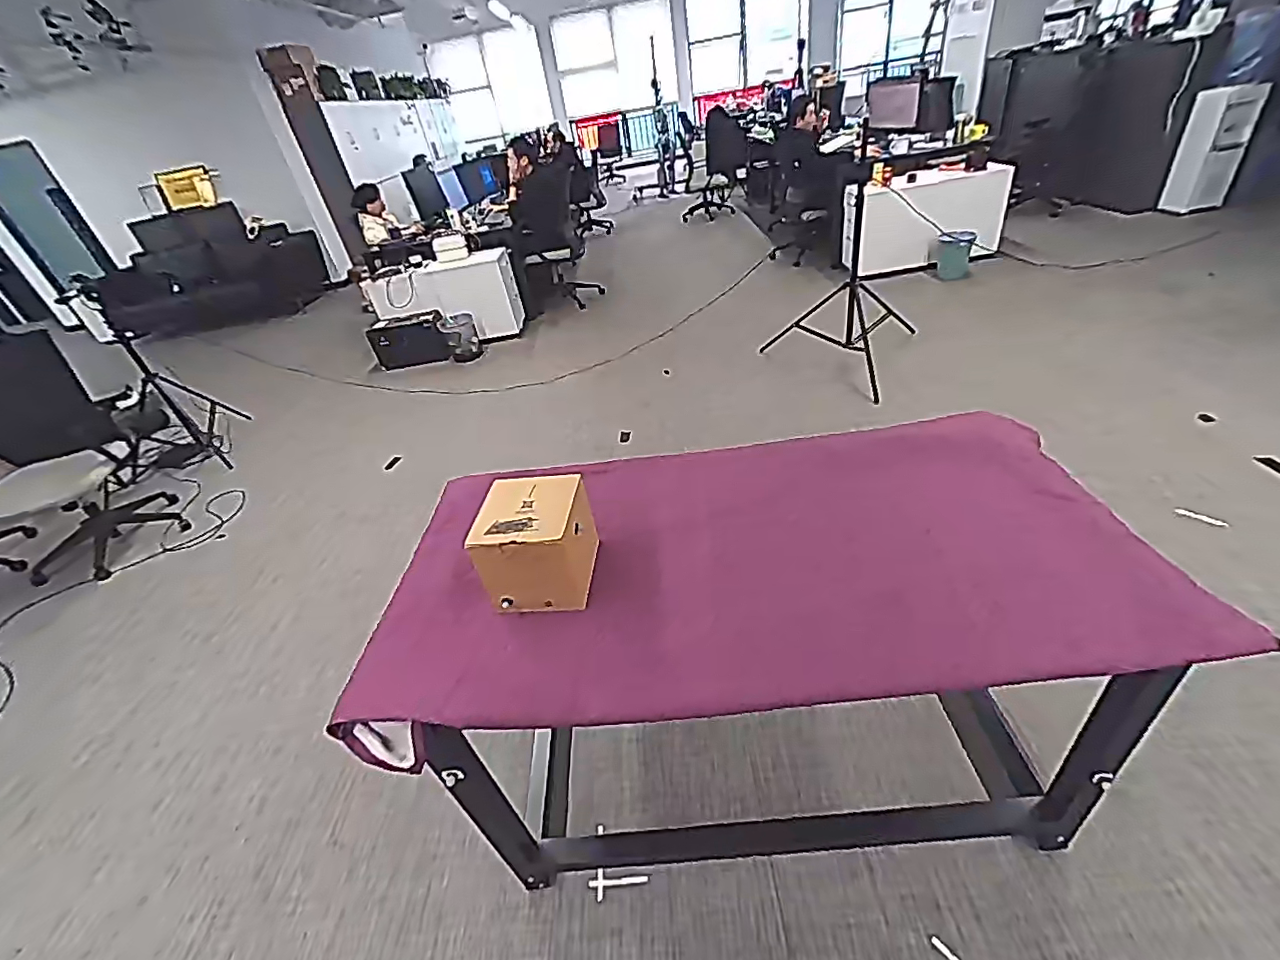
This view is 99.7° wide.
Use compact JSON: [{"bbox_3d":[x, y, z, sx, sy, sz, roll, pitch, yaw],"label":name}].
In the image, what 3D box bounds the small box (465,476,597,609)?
[{"bbox_3d":[-0.180,0.115,0.961,0.168,0.176,0.179,-4,36,9],"label":"small box"}]
